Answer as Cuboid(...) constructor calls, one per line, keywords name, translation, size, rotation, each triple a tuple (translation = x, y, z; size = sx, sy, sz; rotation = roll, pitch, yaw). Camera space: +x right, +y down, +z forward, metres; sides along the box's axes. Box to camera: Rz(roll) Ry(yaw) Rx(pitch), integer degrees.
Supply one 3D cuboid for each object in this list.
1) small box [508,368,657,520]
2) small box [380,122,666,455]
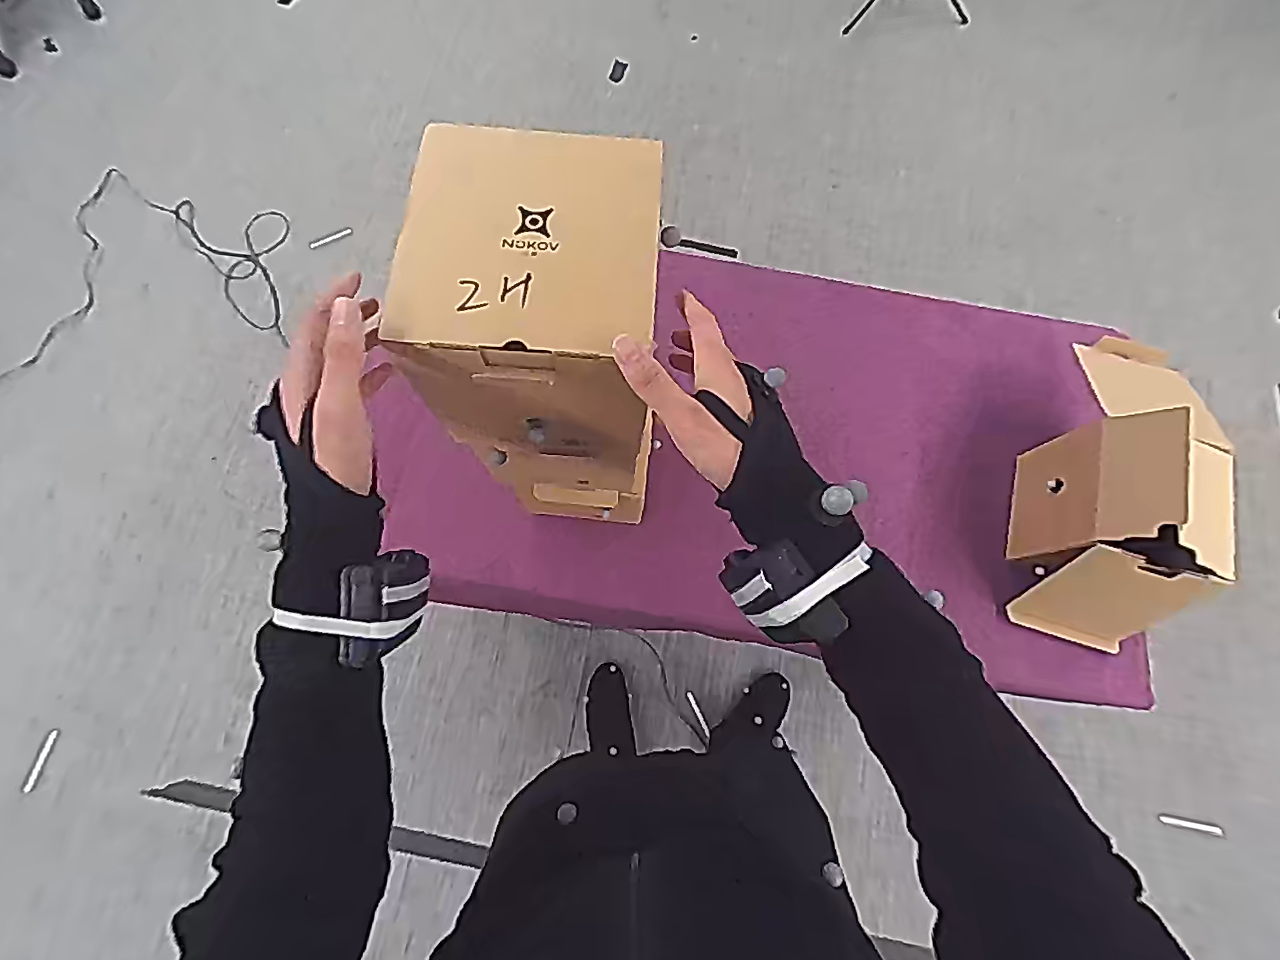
Cuboid(name="small box", translation=(-0.071, -0.049, 0.746), size=(0.168, 0.176, 0.179), rotation=(7, 74, -1))
Cuboid(name="small box", translation=(-0.073, -0.135, 0.426), size=(0.168, 0.176, 0.179), rotation=(4, 73, -1))
